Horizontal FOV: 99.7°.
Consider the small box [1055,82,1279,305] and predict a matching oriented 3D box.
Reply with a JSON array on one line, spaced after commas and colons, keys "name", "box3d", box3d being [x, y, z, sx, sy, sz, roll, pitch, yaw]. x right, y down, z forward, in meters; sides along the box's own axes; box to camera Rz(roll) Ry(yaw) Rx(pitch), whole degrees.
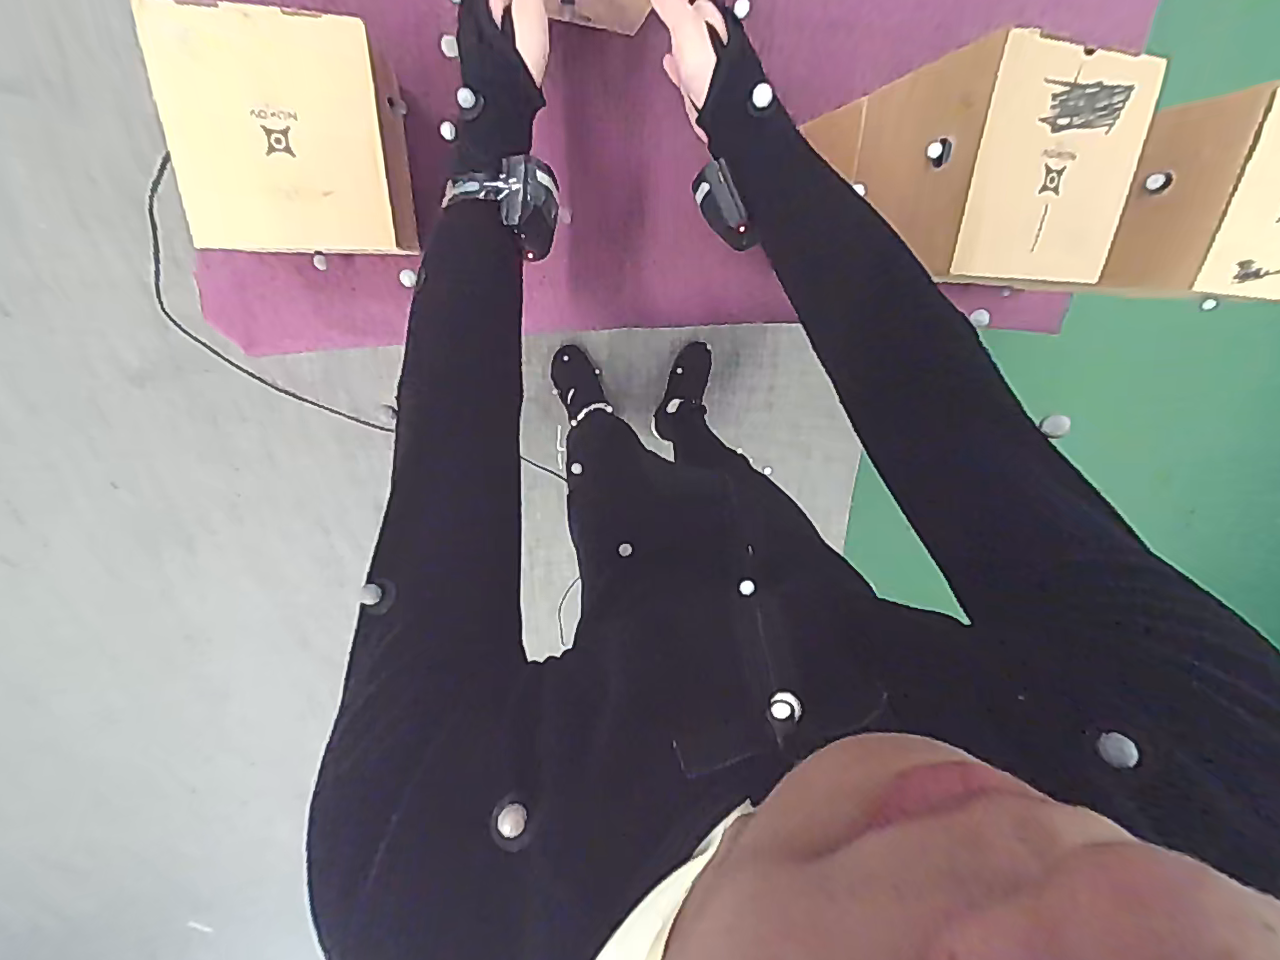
[{"name": "small box", "box3d": [0.603, -0.290, 0.586, 0.168, 0.176, 0.179, 0, 110, -13]}]

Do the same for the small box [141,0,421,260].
[{"name": "small box", "box3d": [-0.320, -0.314, 0.528, 0.168, 0.176, 0.179, -4, 112, -12]}]

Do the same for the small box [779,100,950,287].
[{"name": "small box", "box3d": [0.289, -0.339, 0.674, 0.168, 0.176, 0.179, -2, 110, -13]}]

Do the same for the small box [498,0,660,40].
[{"name": "small box", "box3d": [-0.055, -0.556, 0.498, 0.168, 0.176, 0.179, 1, 111, -14]}]

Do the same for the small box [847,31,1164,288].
[{"name": "small box", "box3d": [0.327, -0.284, 0.524, 0.168, 0.176, 0.179, -2, 111, -13]}]
